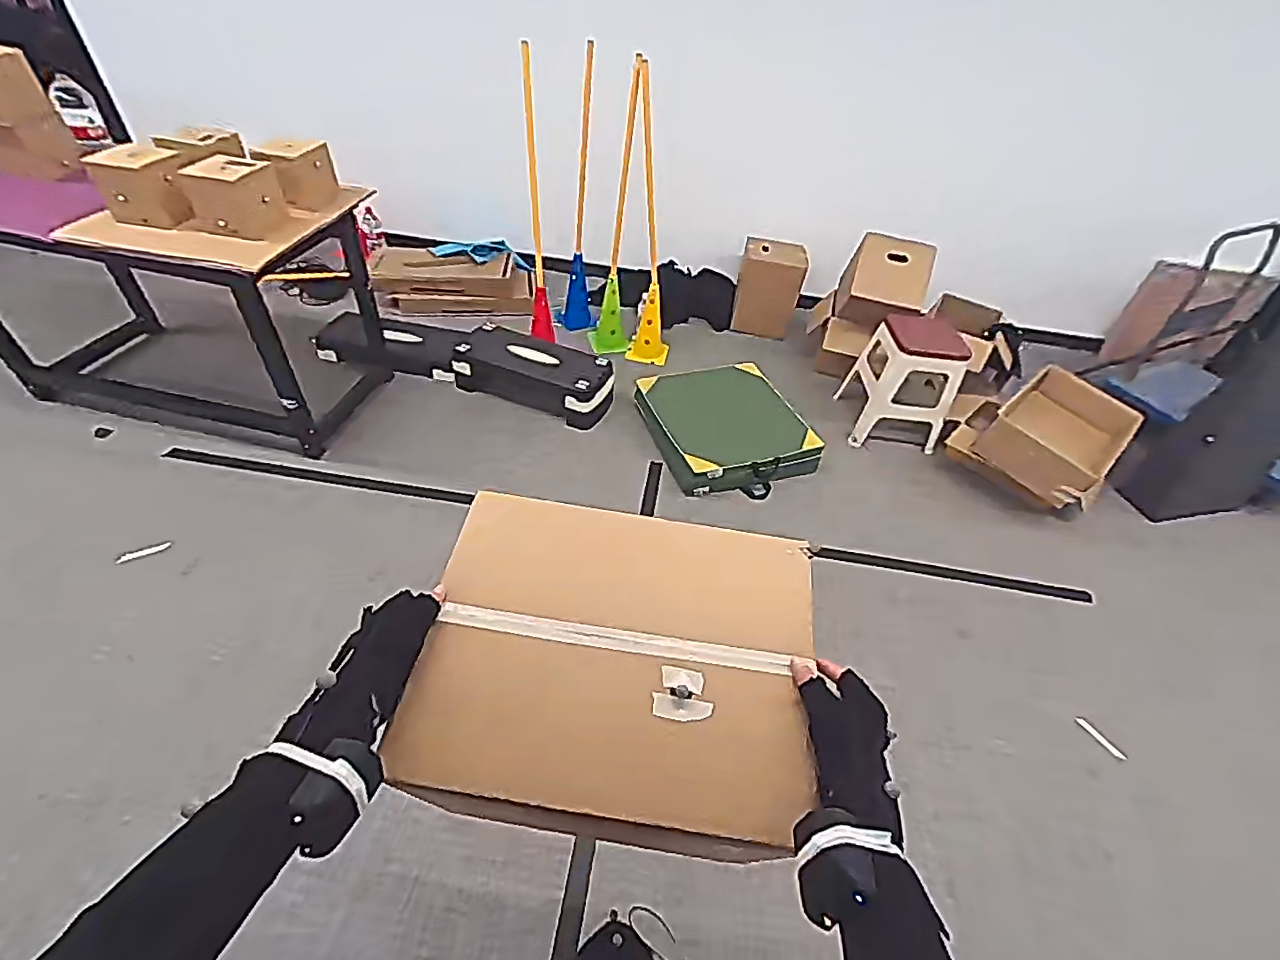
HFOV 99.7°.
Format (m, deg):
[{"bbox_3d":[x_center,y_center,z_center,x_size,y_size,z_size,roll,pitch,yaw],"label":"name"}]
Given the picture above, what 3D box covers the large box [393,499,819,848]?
[{"bbox_3d":[-0.029,0.258,0.699,0.408,0.320,0.320,9,54,1],"label":"large box"}]
